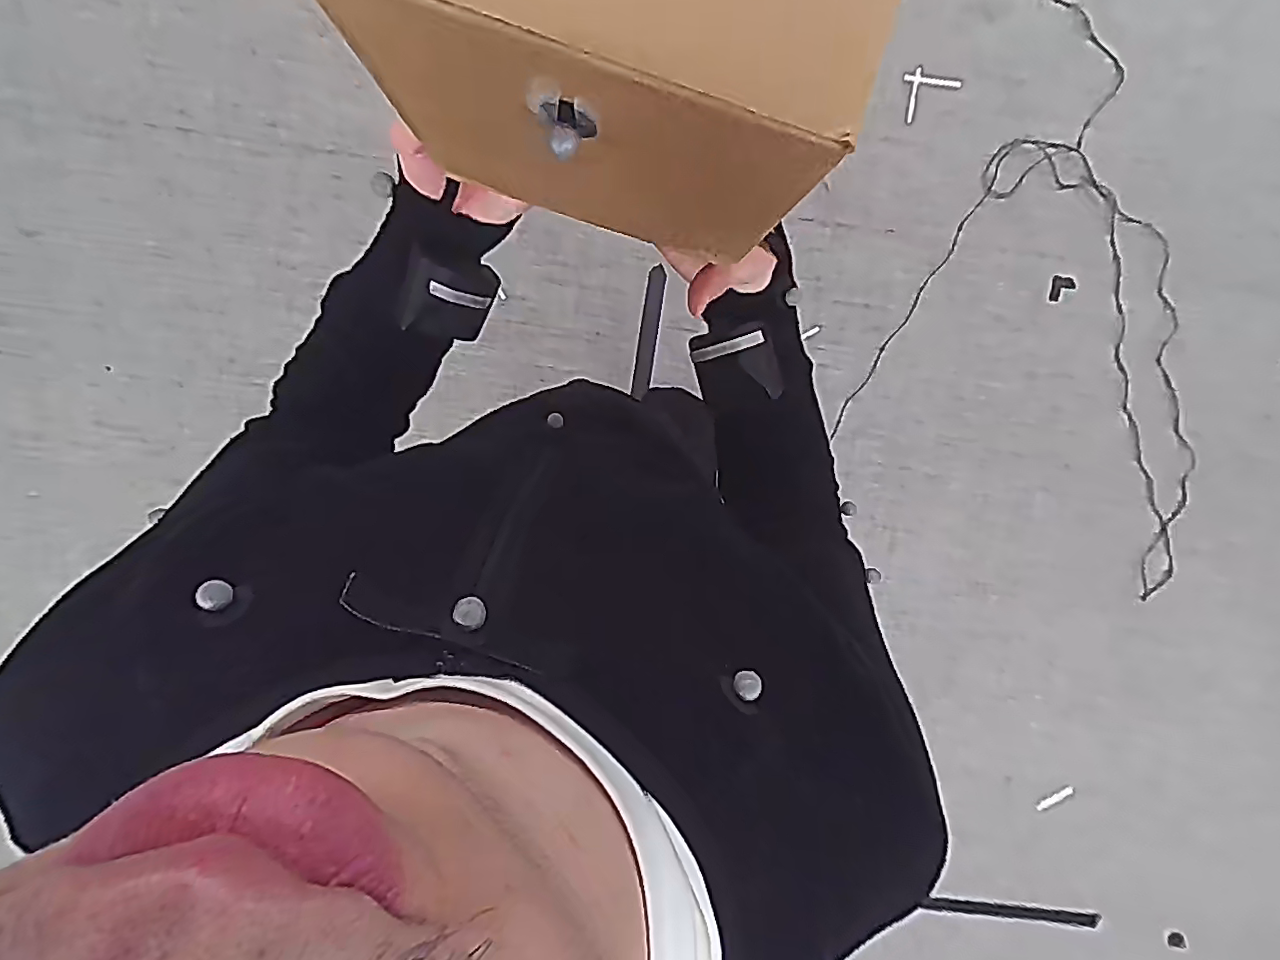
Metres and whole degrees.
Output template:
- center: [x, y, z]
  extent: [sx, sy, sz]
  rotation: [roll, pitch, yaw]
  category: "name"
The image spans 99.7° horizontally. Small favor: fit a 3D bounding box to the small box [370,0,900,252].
- center: [0.003, -0.219, 0.234]
  extent: [0.179, 0.176, 0.168]
  rotation: [15, 99, -7]
  category: "small box"
